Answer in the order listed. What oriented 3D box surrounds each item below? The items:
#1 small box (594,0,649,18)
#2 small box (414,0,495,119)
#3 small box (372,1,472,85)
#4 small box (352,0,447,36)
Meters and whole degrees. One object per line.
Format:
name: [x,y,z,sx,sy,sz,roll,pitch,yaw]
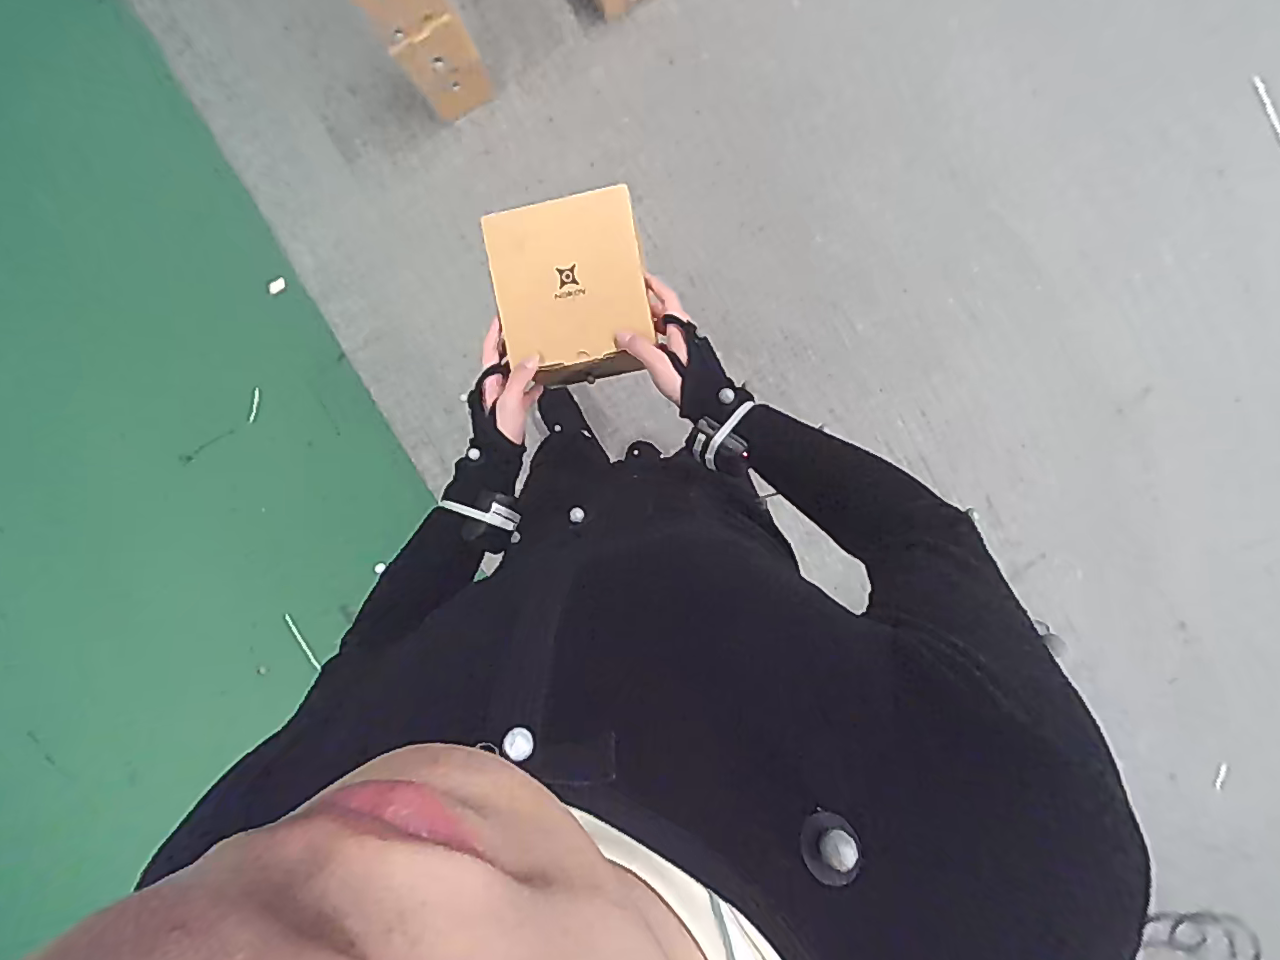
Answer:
small box: [-0.065,-1.342,1.370,0.168,0.176,0.179,-18,98,7]
small box: [-0.513,-1.104,1.428,0.179,0.176,0.168,-24,97,6]
small box: [-0.524,-1.076,1.268,0.168,0.176,0.179,-25,97,6]
small box: [-0.527,-1.064,1.103,0.168,0.176,0.179,-26,96,6]
